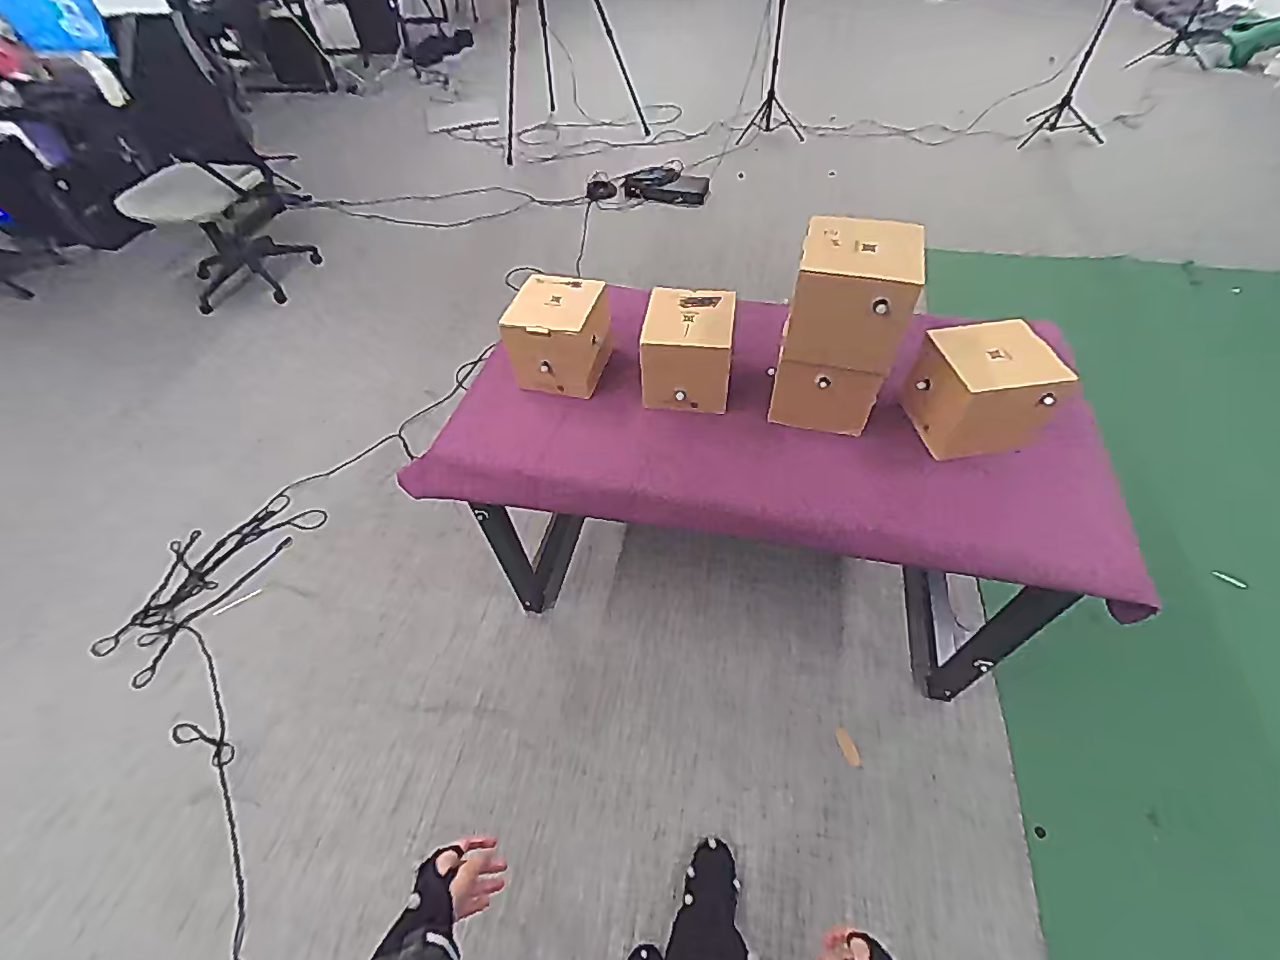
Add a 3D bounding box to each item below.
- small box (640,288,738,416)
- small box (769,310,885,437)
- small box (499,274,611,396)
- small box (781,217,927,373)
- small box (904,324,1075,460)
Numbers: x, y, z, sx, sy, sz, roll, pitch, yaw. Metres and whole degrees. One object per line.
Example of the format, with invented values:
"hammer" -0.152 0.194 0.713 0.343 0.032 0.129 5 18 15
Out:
"small box" 0.097 -0.251 1.064 0.168 0.176 0.179 6 53 8
"small box" 0.347 -0.201 1.010 0.179 0.176 0.168 12 54 13
"small box" -0.163 -0.296 1.114 0.168 0.176 0.179 11 54 11
"small box" 0.341 -0.295 0.876 0.179 0.176 0.168 13 53 13
"small box" 0.594 -0.150 0.956 0.179 0.176 0.168 -7 51 -2
